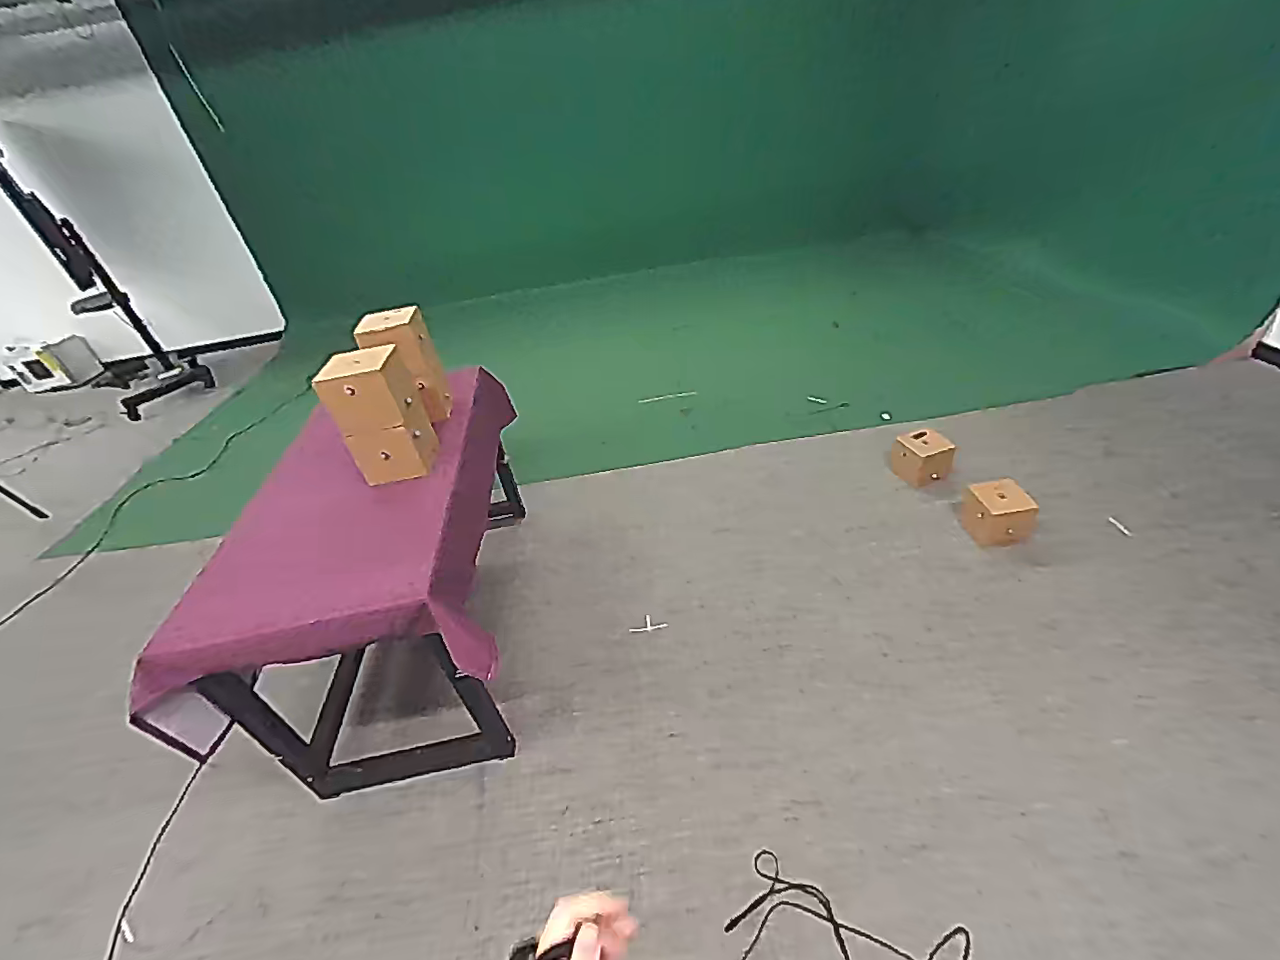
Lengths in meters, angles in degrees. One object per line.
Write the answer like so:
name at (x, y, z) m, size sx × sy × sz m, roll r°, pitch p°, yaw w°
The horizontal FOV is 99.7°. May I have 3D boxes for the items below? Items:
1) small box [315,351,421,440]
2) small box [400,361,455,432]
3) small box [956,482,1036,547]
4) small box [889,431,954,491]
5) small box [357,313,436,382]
small box at (-0.720, -0.224, 1.454) m, size 0.179 × 0.176 × 0.168 m, roll -10°, pitch 36°, yaw 1°
small box at (-0.744, -0.277, 1.815) m, size 0.179 × 0.176 × 0.168 m, roll -12°, pitch 36°, yaw -4°
small box at (1.303, 0.133, 1.991) m, size 0.168 × 0.176 × 0.179 m, roll -9°, pitch 36°, yaw 1°
small box at (1.193, -0.080, 2.309) m, size 0.168 × 0.176 × 0.179 m, roll -17°, pitch 37°, yaw -9°
small box at (-0.764, -0.410, 1.719) m, size 0.168 × 0.176 × 0.179 m, roll -12°, pitch 37°, yaw -4°
